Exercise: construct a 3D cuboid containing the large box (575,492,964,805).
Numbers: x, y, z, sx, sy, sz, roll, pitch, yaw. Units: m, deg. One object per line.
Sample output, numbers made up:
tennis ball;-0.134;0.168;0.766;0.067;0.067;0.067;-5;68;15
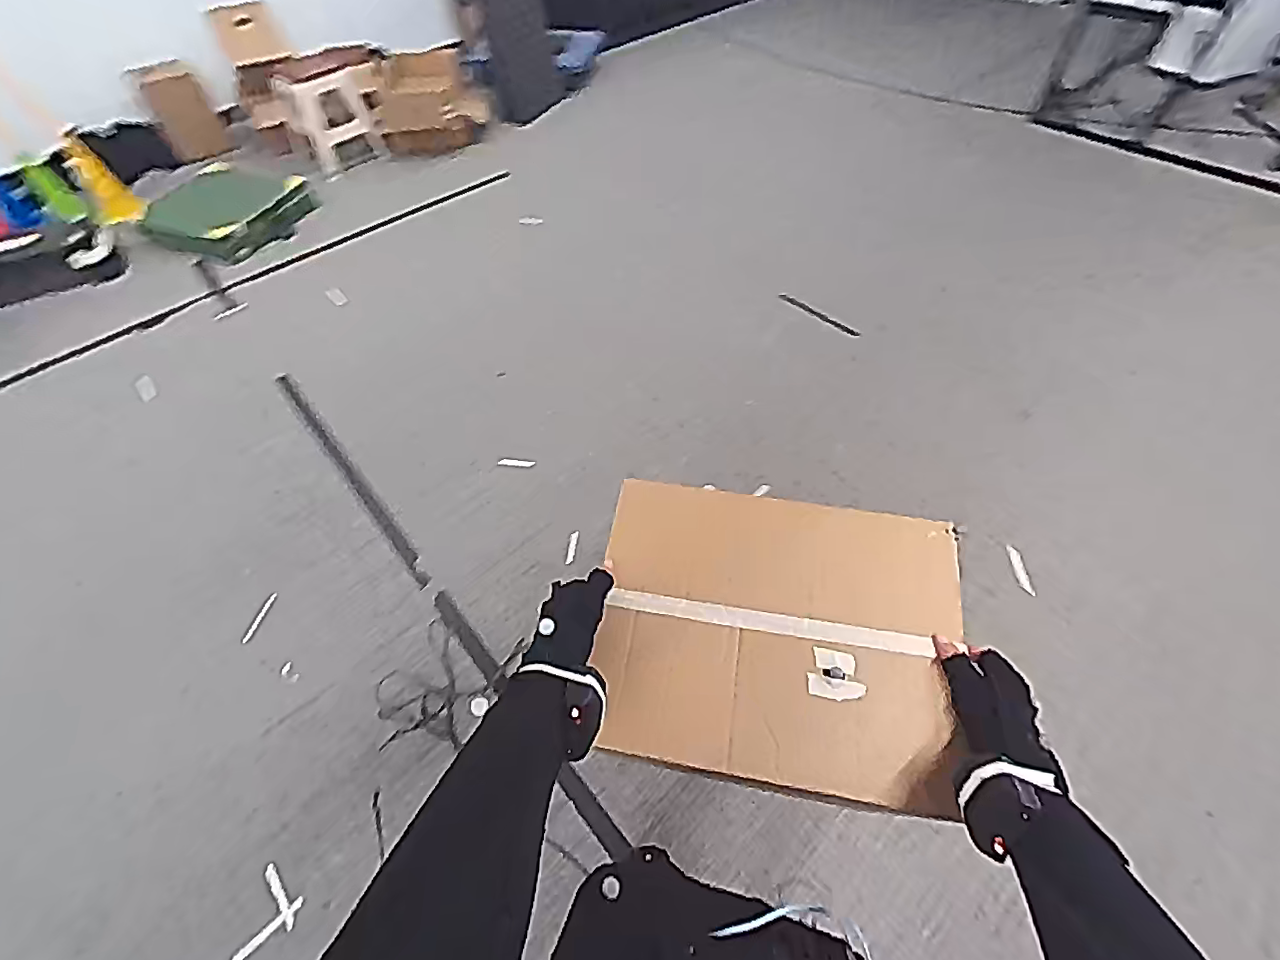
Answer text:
large box;0.151;0.239;0.752;0.408;0.320;0.320;7;63;7
